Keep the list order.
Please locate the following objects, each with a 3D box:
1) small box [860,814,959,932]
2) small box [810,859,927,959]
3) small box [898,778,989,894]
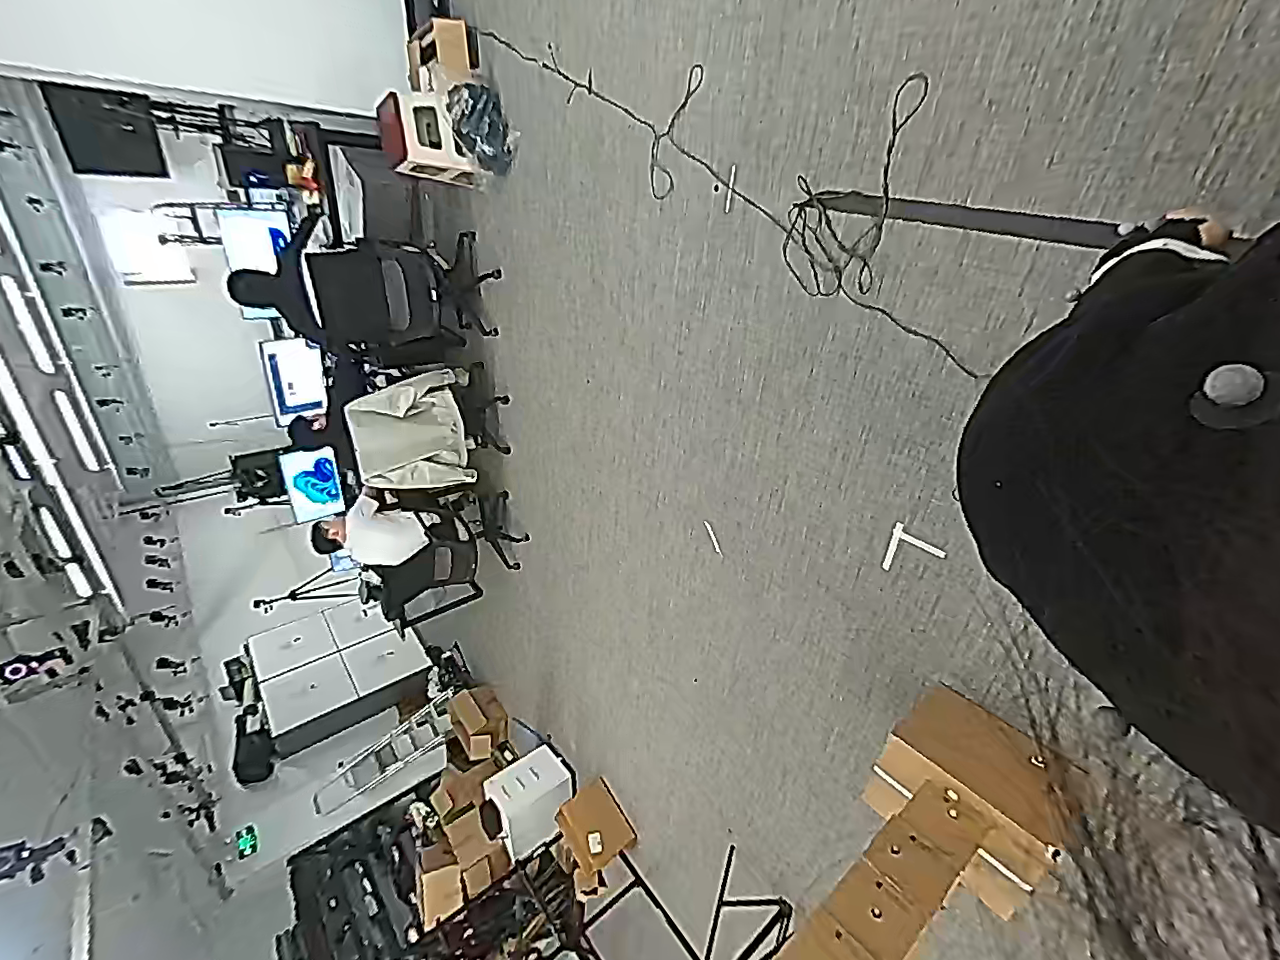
[{"bbox_3d":[0.628,0.950,1.287,0.168,0.176,0.179,30,128,44],"label":"small box"},{"bbox_3d":[0.503,0.996,1.190,0.168,0.176,0.179,26,124,46],"label":"small box"},{"bbox_3d":[0.754,0.916,1.382,0.168,0.176,0.179,31,127,42],"label":"small box"}]
